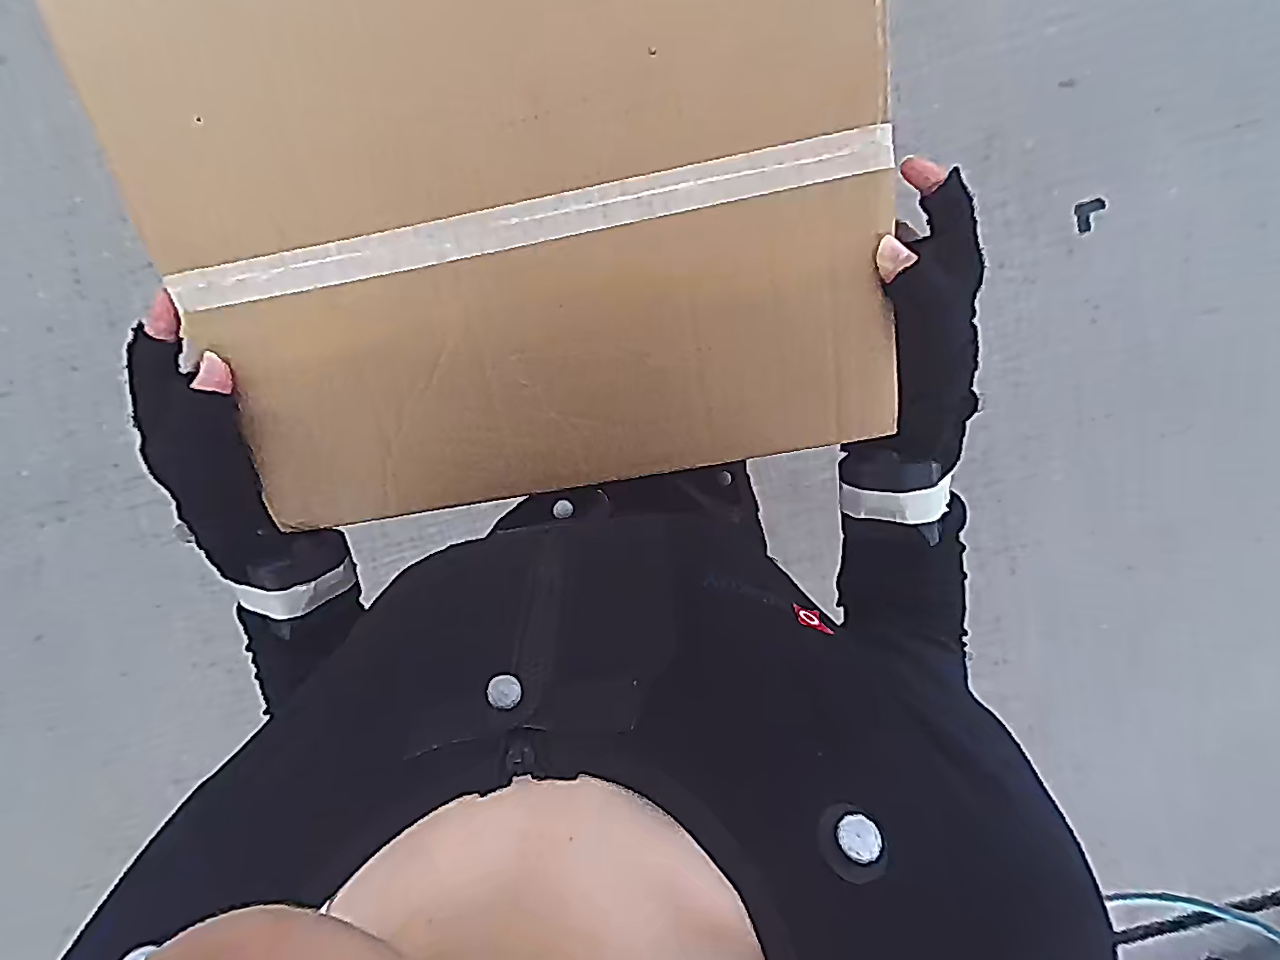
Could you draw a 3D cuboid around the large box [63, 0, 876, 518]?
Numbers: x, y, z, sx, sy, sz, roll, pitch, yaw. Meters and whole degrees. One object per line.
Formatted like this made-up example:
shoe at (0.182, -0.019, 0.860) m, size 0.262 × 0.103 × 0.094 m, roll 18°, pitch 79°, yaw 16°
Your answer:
large box at (-0.069, -0.200, 0.446) m, size 0.408 × 0.320 × 0.320 m, roll -9°, pitch 110°, yaw 4°
